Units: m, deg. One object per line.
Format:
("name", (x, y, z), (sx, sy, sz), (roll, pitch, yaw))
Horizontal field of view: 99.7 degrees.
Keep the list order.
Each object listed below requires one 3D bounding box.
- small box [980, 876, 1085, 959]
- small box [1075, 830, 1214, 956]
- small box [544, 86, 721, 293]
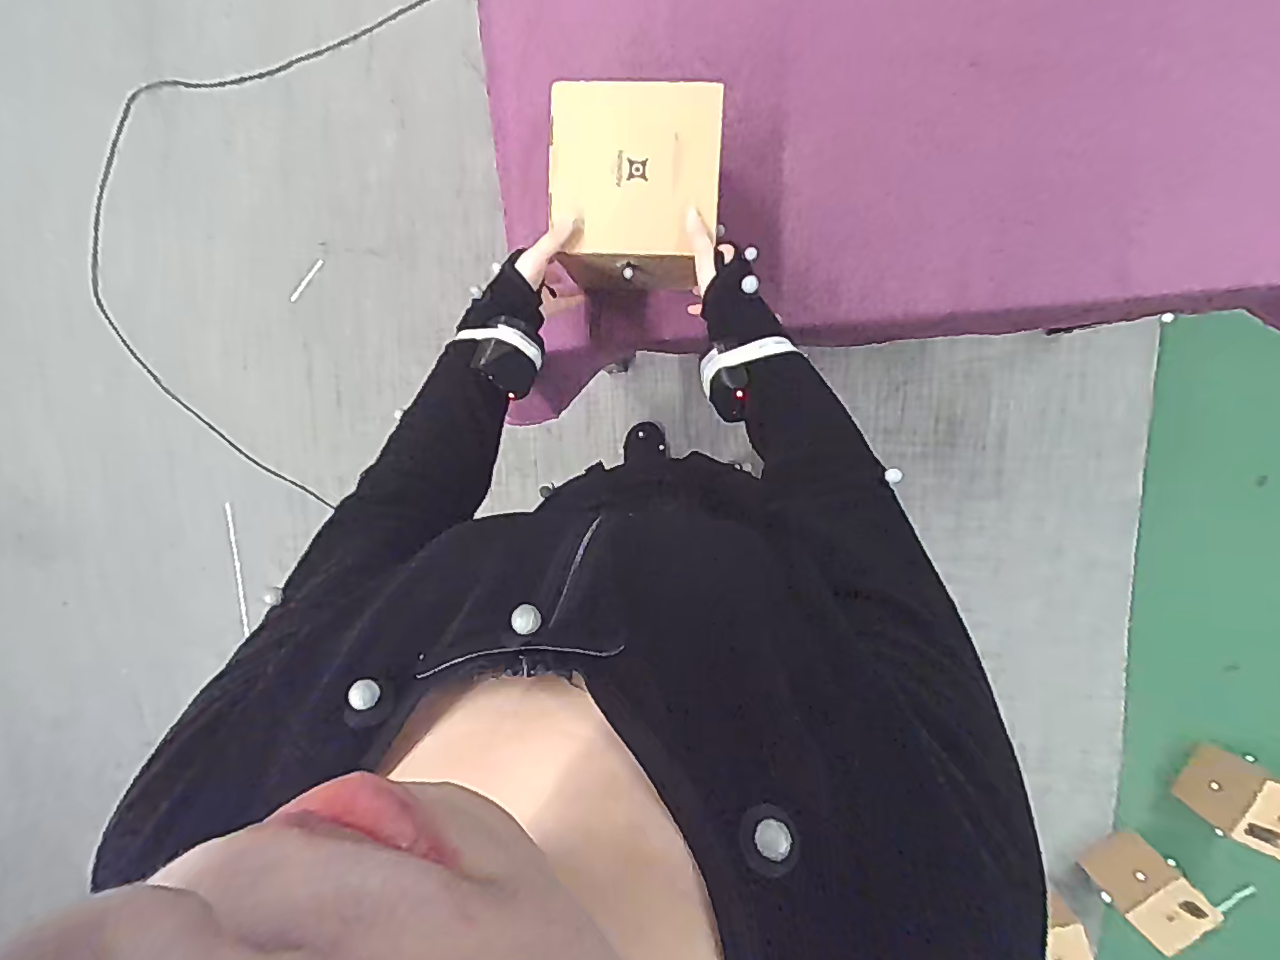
("small box", (1.077, 1.237, 1.490), (0.168, 0.176, 0.179), (-19, 96, 6))
("small box", (1.340, 1.098, 1.452), (0.168, 0.176, 0.179), (44, 99, -3))
("small box", (-0.004, -0.322, 0.632), (0.179, 0.176, 0.168), (4, 98, 3))
